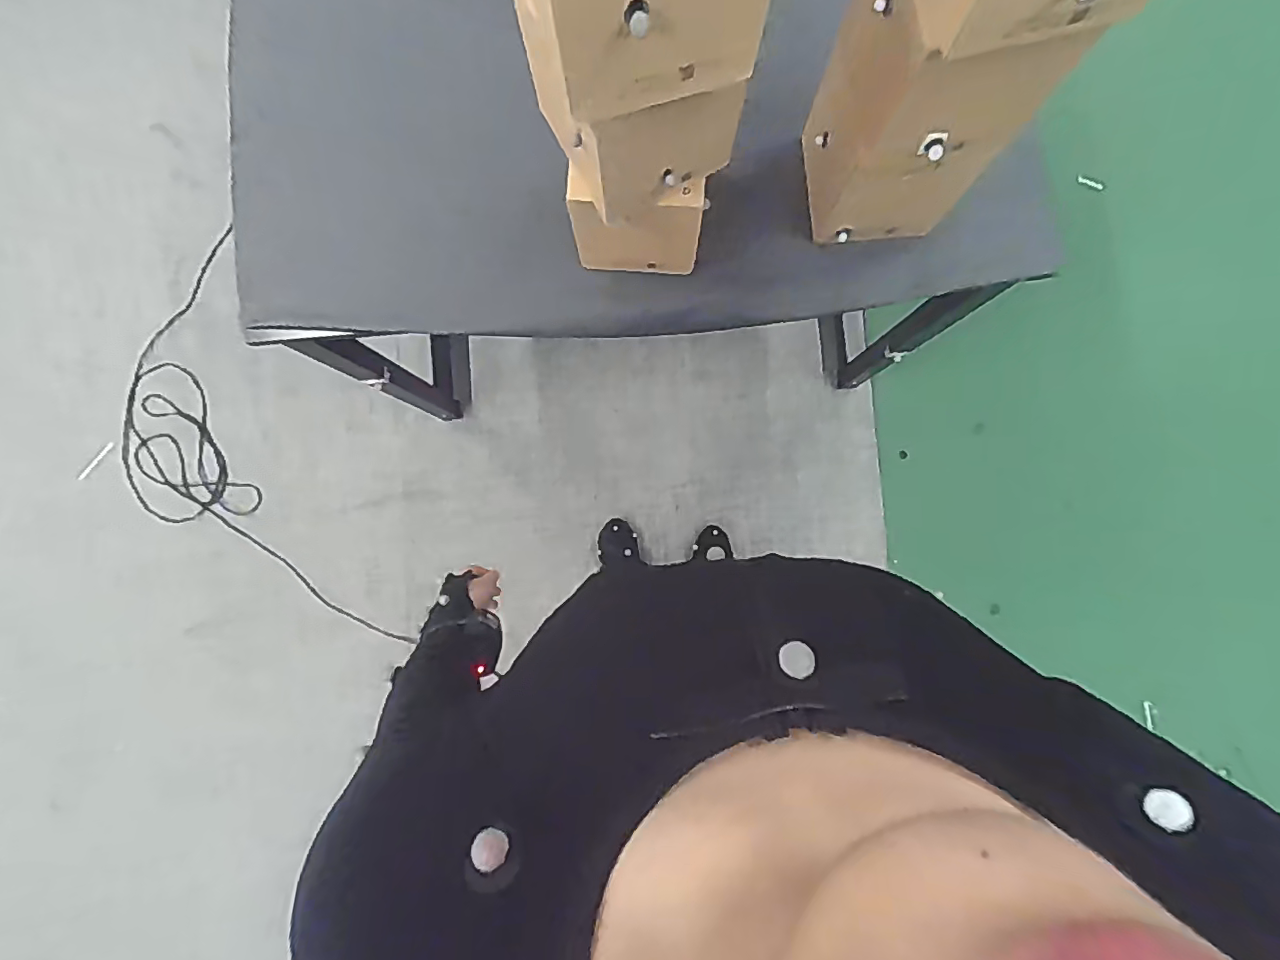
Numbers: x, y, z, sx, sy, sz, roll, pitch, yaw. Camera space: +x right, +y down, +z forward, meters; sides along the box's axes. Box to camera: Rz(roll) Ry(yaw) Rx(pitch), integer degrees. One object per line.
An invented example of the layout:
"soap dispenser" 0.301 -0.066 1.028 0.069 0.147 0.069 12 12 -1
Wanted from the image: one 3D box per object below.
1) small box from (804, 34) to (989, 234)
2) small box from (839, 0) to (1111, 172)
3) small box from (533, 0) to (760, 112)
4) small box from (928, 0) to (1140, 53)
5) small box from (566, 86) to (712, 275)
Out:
"small box" 0.326 -0.448 0.719 0.168 0.176 0.179 -4 83 1
"small box" 0.321 -0.461 0.557 0.168 0.176 0.179 -8 85 2
"small box" -0.007 -0.412 0.396 0.168 0.176 0.179 -17 85 0
"small box" 0.319 -0.470 0.391 0.168 0.176 0.179 -11 83 2
"small box" 0.000 -0.402 0.723 0.168 0.176 0.179 4 84 2
